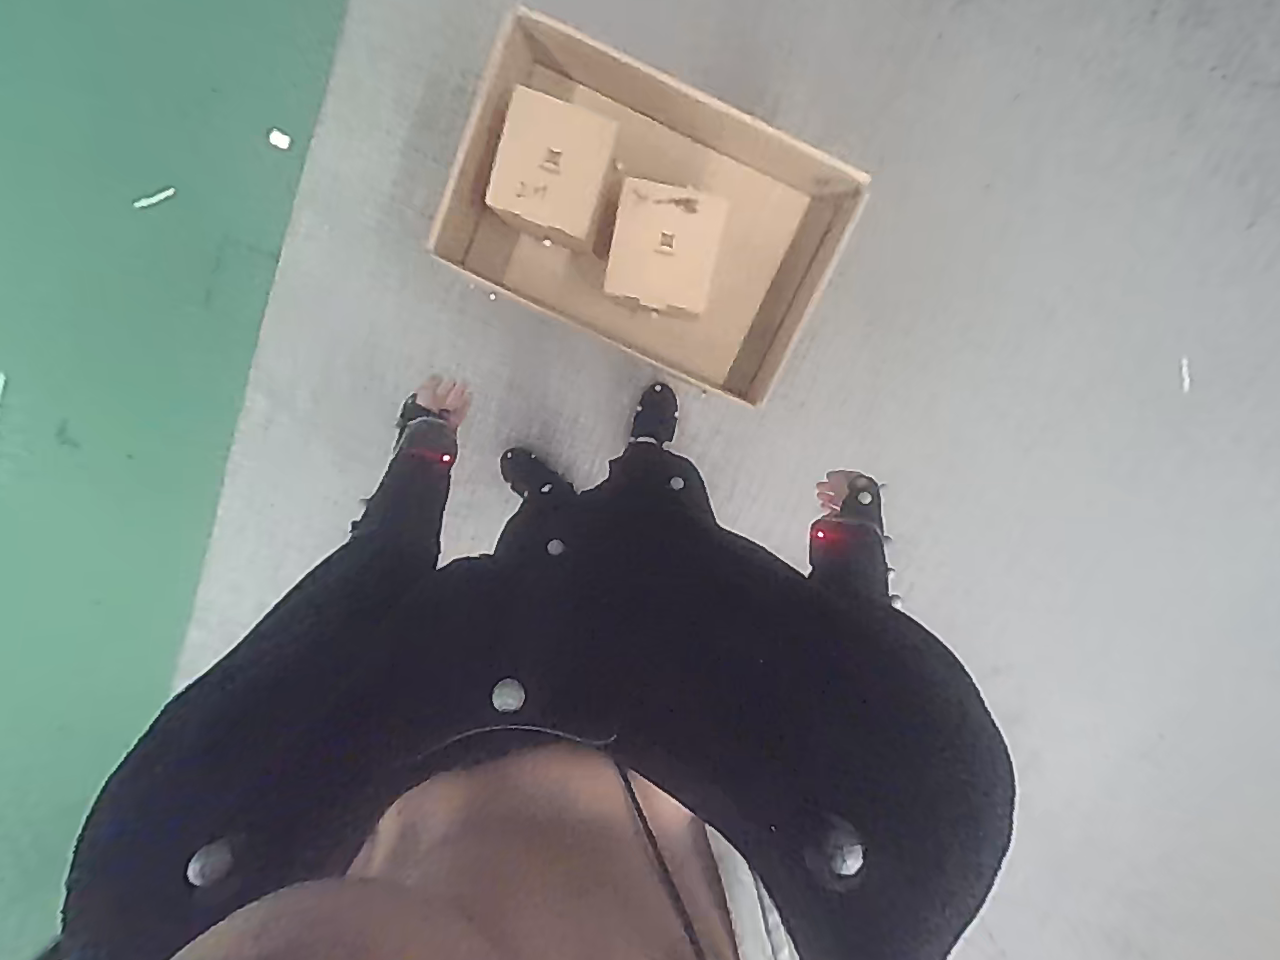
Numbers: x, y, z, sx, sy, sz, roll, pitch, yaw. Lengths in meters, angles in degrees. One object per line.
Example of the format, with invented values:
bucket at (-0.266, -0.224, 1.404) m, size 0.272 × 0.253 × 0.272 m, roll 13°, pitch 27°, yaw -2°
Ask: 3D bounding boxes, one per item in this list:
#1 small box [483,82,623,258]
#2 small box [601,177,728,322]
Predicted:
small box at (-0.132, -0.492, 0.889) m, size 0.168 × 0.176 × 0.179 m, roll 21°, pitch 101°, yaw -2°
small box at (0.039, -0.372, 0.909) m, size 0.168 × 0.176 × 0.179 m, roll 13°, pitch 102°, yaw -1°
